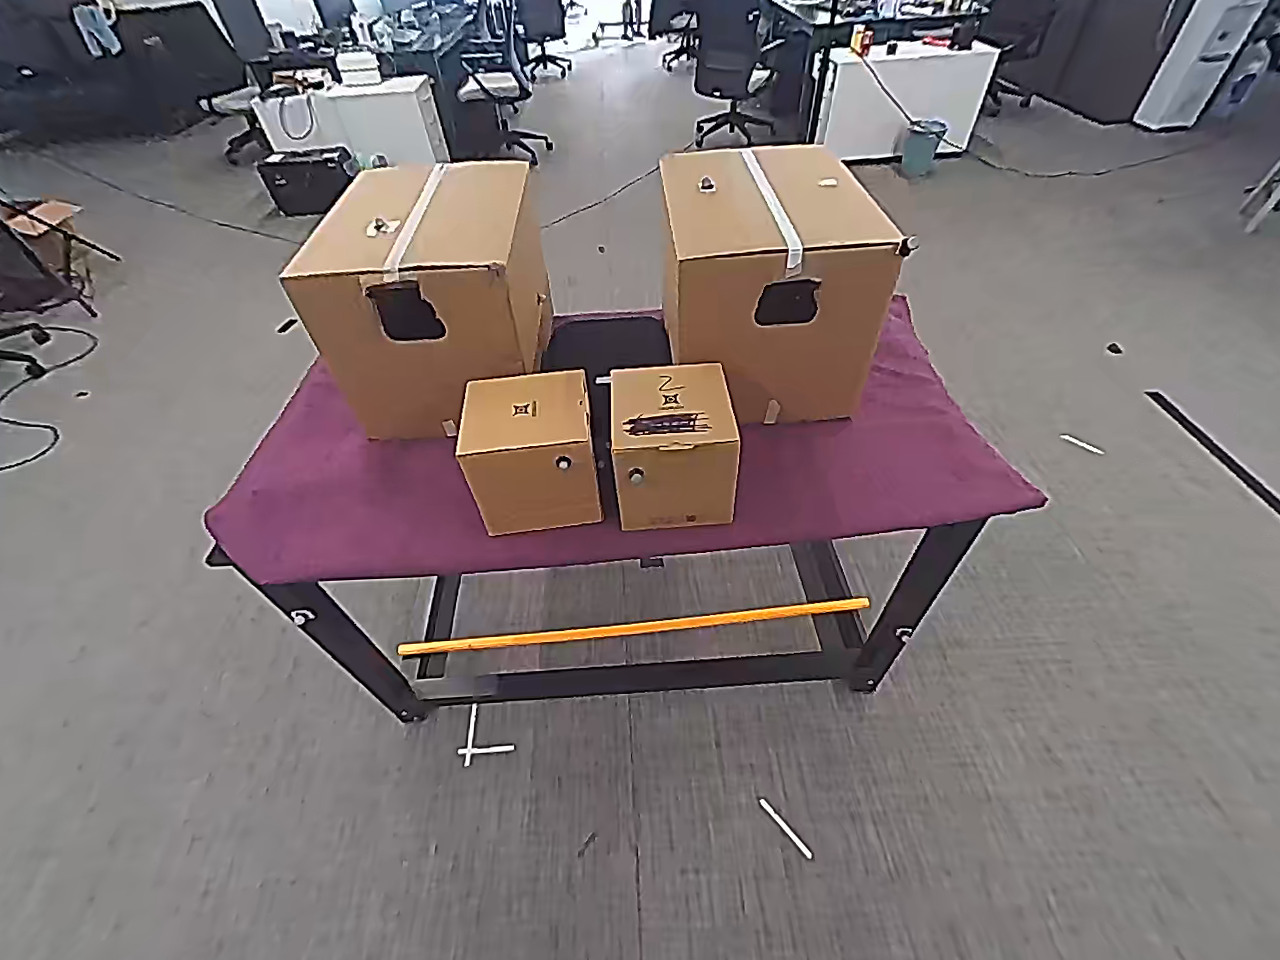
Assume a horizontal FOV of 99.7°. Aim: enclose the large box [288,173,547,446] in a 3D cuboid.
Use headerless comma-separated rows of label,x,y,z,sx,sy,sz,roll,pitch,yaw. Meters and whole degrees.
large box,-0.349,-0.316,0.989,0.320,0.320,0.408,-5,50,-1
